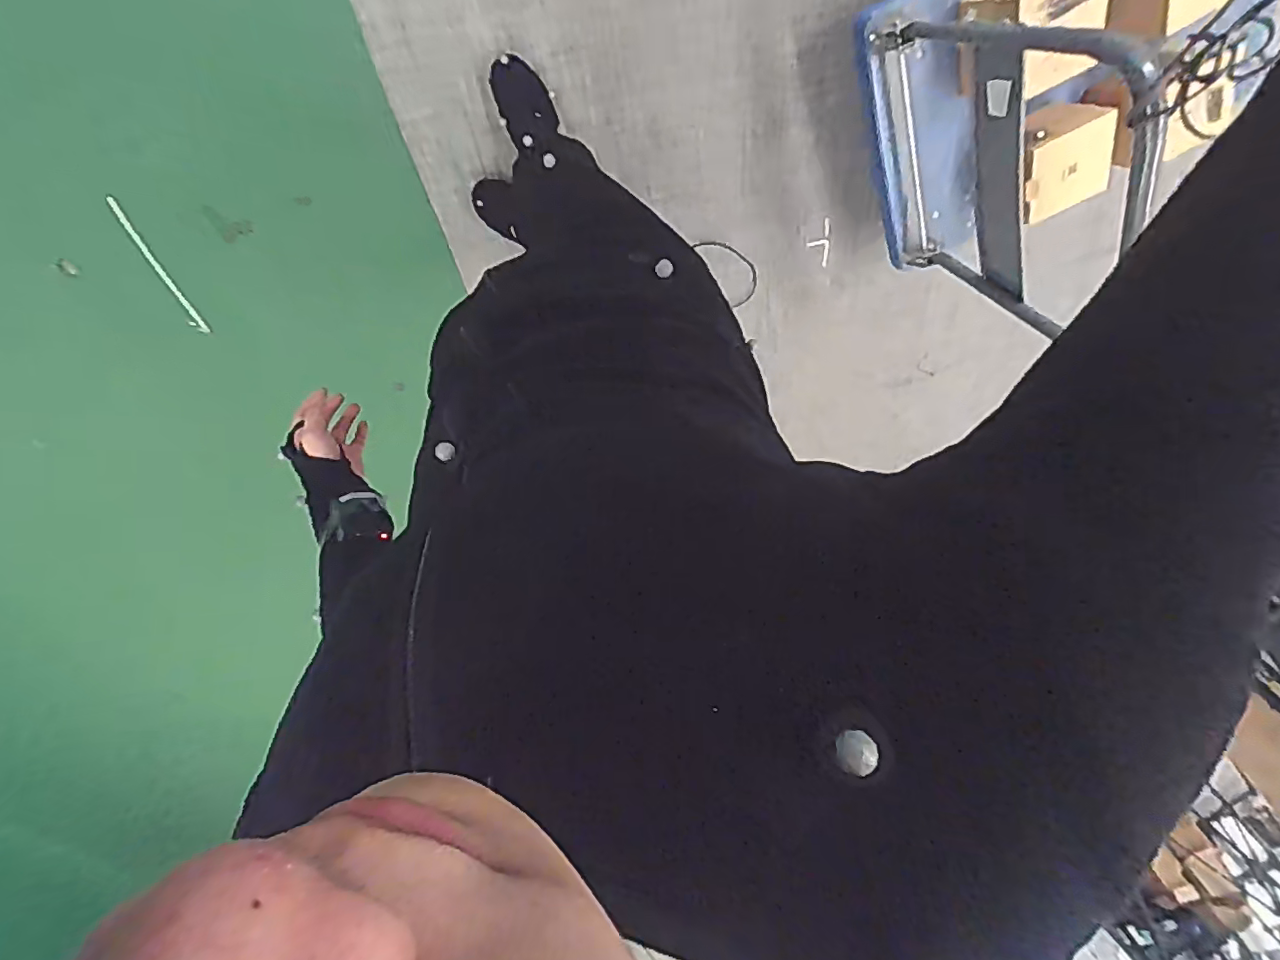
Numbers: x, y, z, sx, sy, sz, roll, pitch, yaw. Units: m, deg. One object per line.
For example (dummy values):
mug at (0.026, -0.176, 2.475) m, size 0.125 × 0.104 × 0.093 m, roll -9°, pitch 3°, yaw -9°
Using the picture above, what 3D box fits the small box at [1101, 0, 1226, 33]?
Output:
small box at (1.005, -0.971, 1.000) m, size 0.179 × 0.176 × 0.168 m, roll -29°, pitch 130°, yaw 12°

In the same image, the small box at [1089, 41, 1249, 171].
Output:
small box at (1.116, -0.806, 1.161) m, size 0.179 × 0.176 × 0.168 m, roll -27°, pitch 129°, yaw 12°

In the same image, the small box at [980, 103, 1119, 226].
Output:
small box at (0.897, -0.706, 1.202) m, size 0.179 × 0.176 × 0.168 m, roll -24°, pitch 130°, yaw 9°
